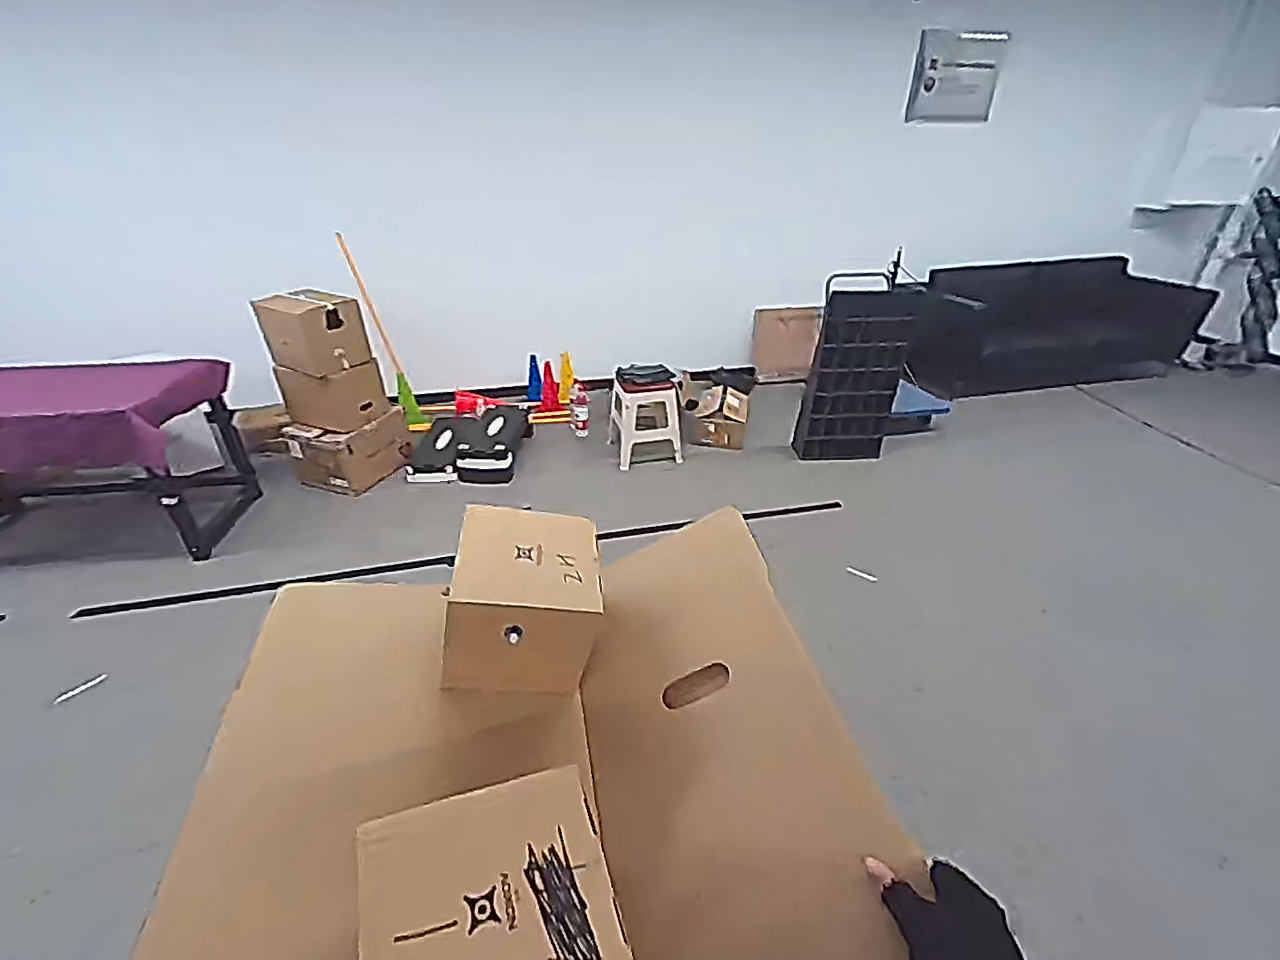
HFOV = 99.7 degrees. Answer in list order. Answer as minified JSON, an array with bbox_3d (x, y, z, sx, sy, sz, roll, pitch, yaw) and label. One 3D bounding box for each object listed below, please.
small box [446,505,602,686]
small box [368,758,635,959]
[{"bbox_3d":[-0.156,0.157,0.725,0.179,0.176,0.168,9,36,-14],"label":"small box"},{"bbox_3d":[-0.127,0.369,0.450,0.179,0.176,0.168,-2,40,-26],"label":"small box"}]
